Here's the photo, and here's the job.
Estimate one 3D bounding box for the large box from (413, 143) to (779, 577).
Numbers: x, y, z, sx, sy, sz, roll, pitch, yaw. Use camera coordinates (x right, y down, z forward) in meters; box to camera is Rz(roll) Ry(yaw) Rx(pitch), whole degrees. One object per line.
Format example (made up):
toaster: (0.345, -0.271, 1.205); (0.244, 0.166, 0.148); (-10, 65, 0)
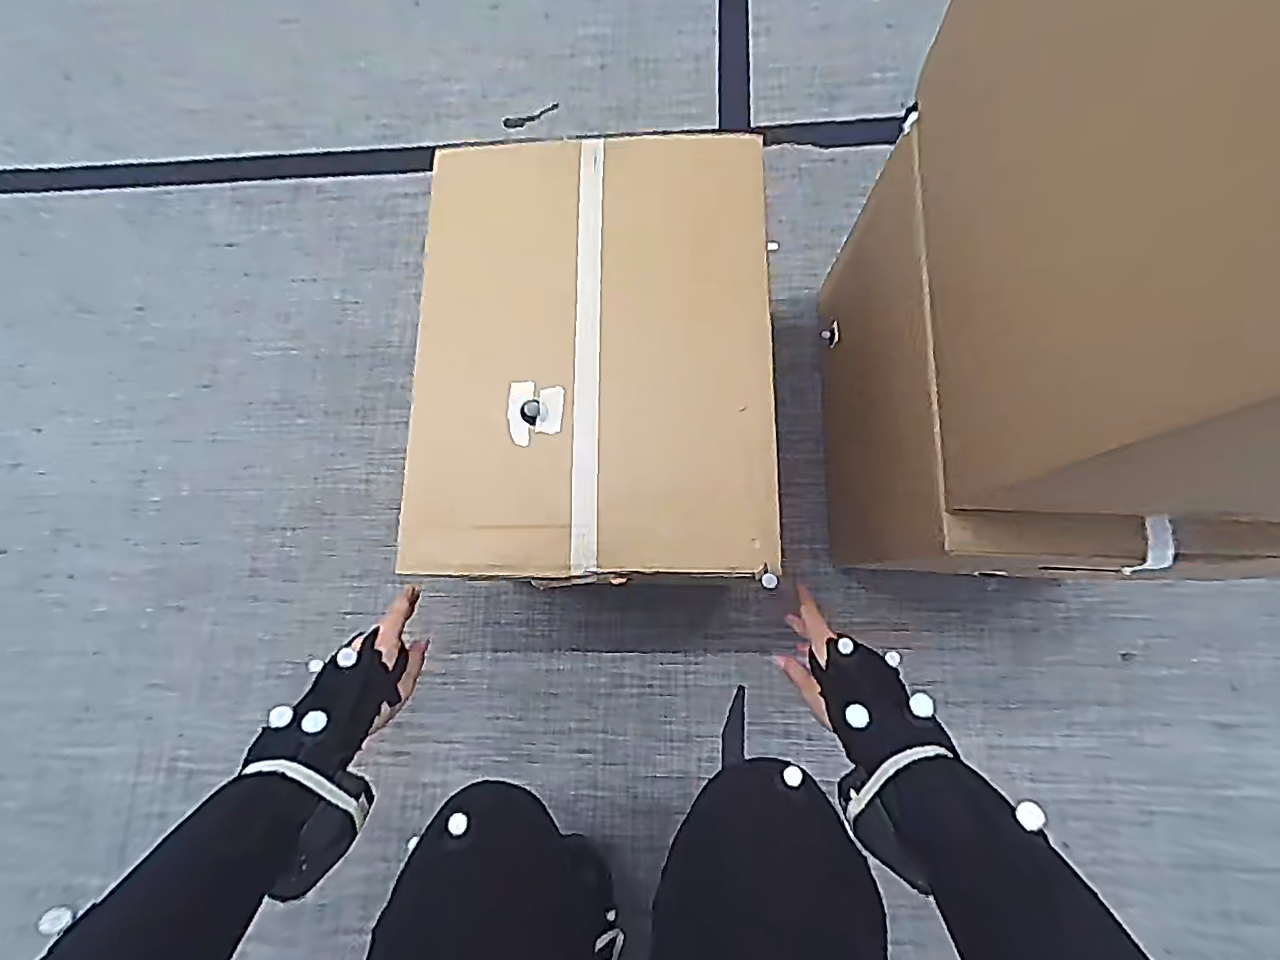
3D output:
large box: (-0.037, -0.096, 0.629); (0.320, 0.320, 0.408); (-2, 79, 4)
